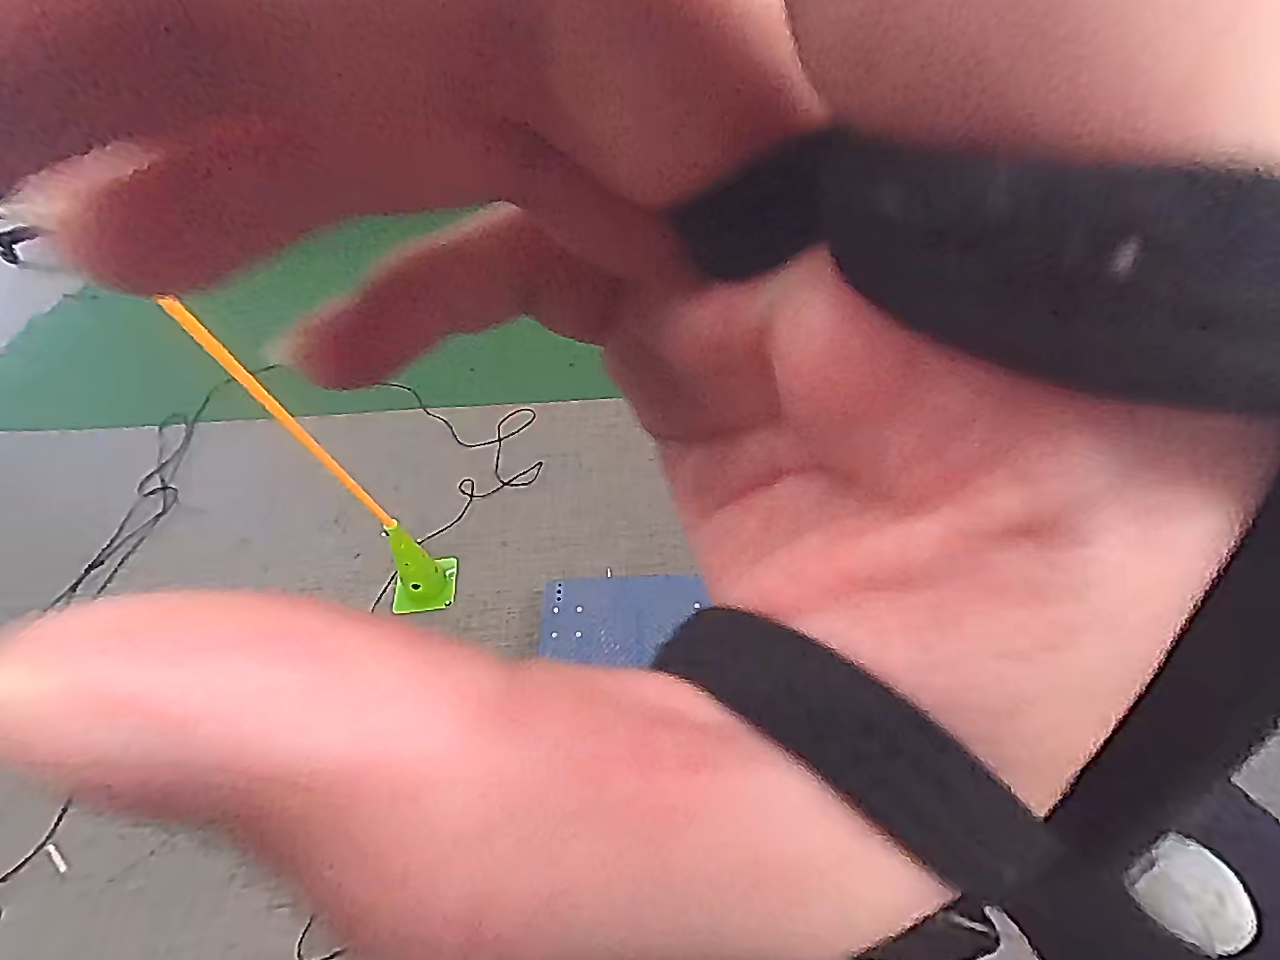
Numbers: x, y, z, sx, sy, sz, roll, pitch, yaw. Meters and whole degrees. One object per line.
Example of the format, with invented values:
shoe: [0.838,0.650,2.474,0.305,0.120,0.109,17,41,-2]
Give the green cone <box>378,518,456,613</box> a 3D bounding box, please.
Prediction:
green cone: [-0.746,0.243,1.739,0.202,0.368,0.200,-8,48,-4]
